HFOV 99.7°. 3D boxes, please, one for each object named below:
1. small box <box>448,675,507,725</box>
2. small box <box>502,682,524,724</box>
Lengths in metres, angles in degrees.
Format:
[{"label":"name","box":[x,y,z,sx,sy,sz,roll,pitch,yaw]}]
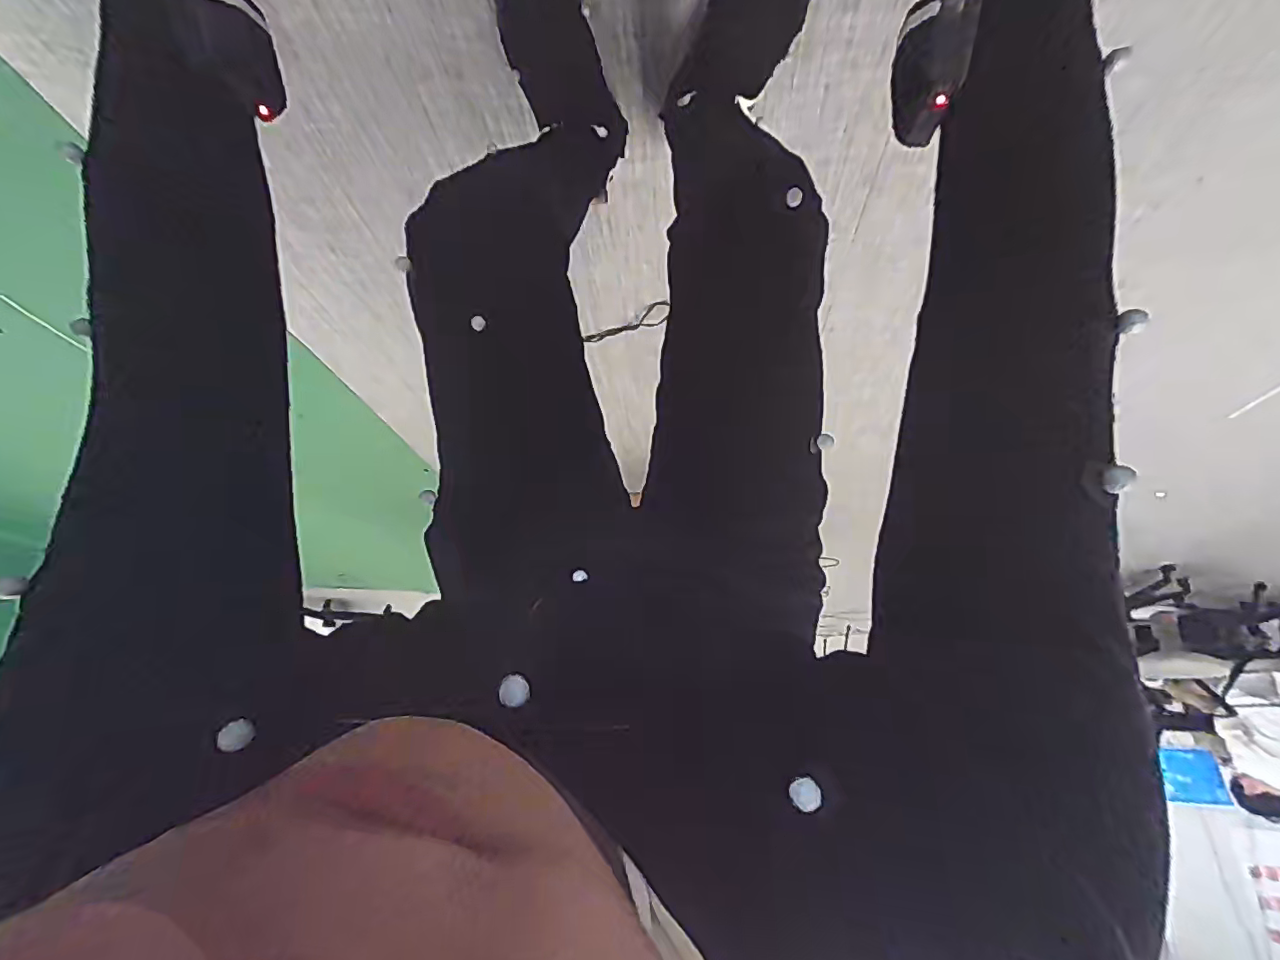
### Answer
[{"label":"small box","box":[-0.626,0.857,2.109,0.168,0.176,0.179,0,158,3]},{"label":"small box","box":[-0.618,0.986,2.395,0.168,0.176,0.179,-1,155,4]}]
